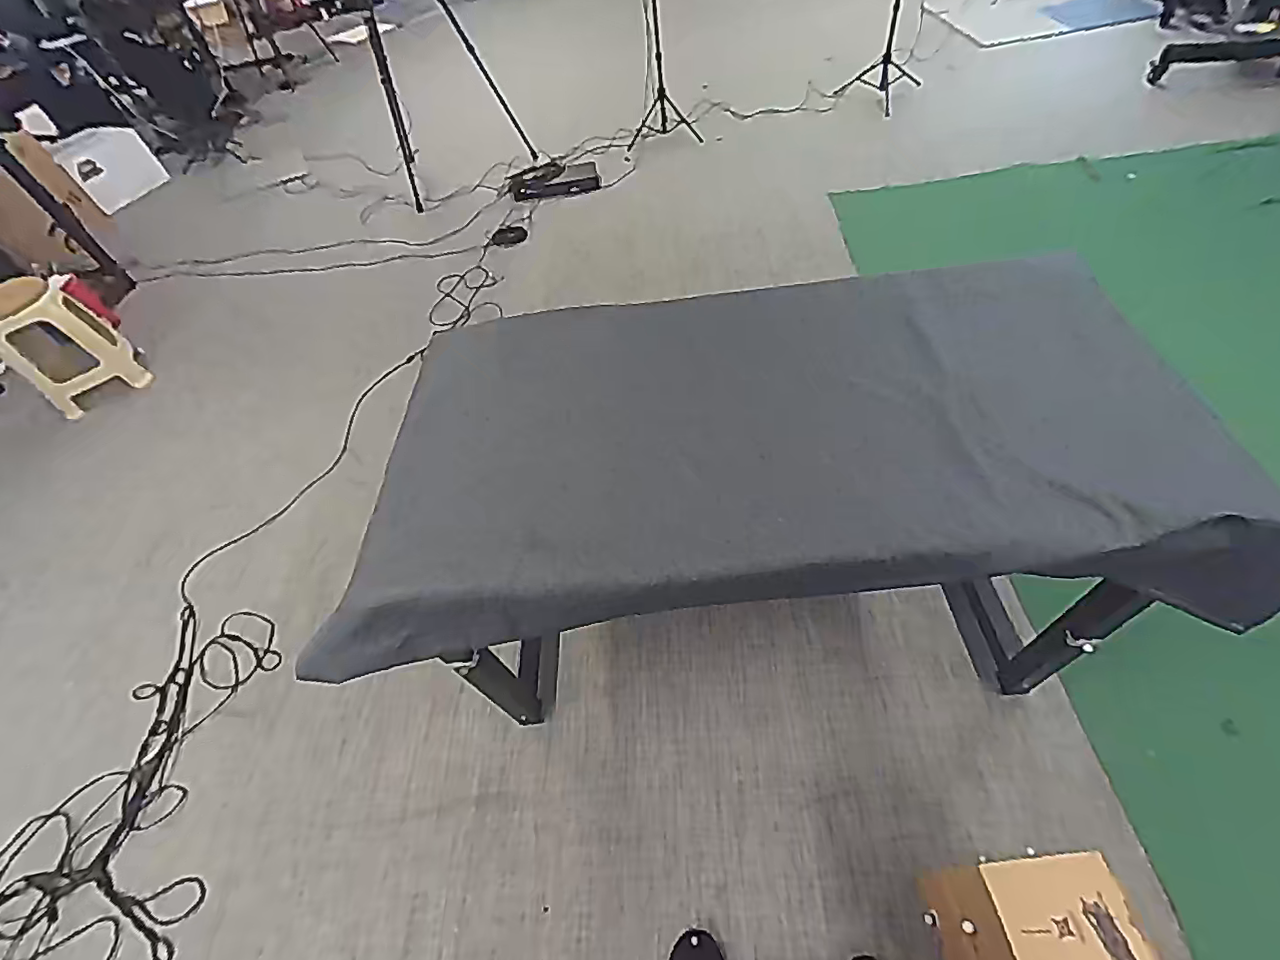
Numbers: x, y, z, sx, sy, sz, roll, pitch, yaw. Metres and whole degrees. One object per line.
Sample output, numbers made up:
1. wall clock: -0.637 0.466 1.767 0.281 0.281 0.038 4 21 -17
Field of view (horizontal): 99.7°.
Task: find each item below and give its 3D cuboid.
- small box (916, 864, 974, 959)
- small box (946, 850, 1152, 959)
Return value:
1. small box: 0.612 0.764 0.934 0.179 0.176 0.168 -8 51 4
2. small box: 0.598 0.662 0.805 0.179 0.176 0.168 -9 51 3
